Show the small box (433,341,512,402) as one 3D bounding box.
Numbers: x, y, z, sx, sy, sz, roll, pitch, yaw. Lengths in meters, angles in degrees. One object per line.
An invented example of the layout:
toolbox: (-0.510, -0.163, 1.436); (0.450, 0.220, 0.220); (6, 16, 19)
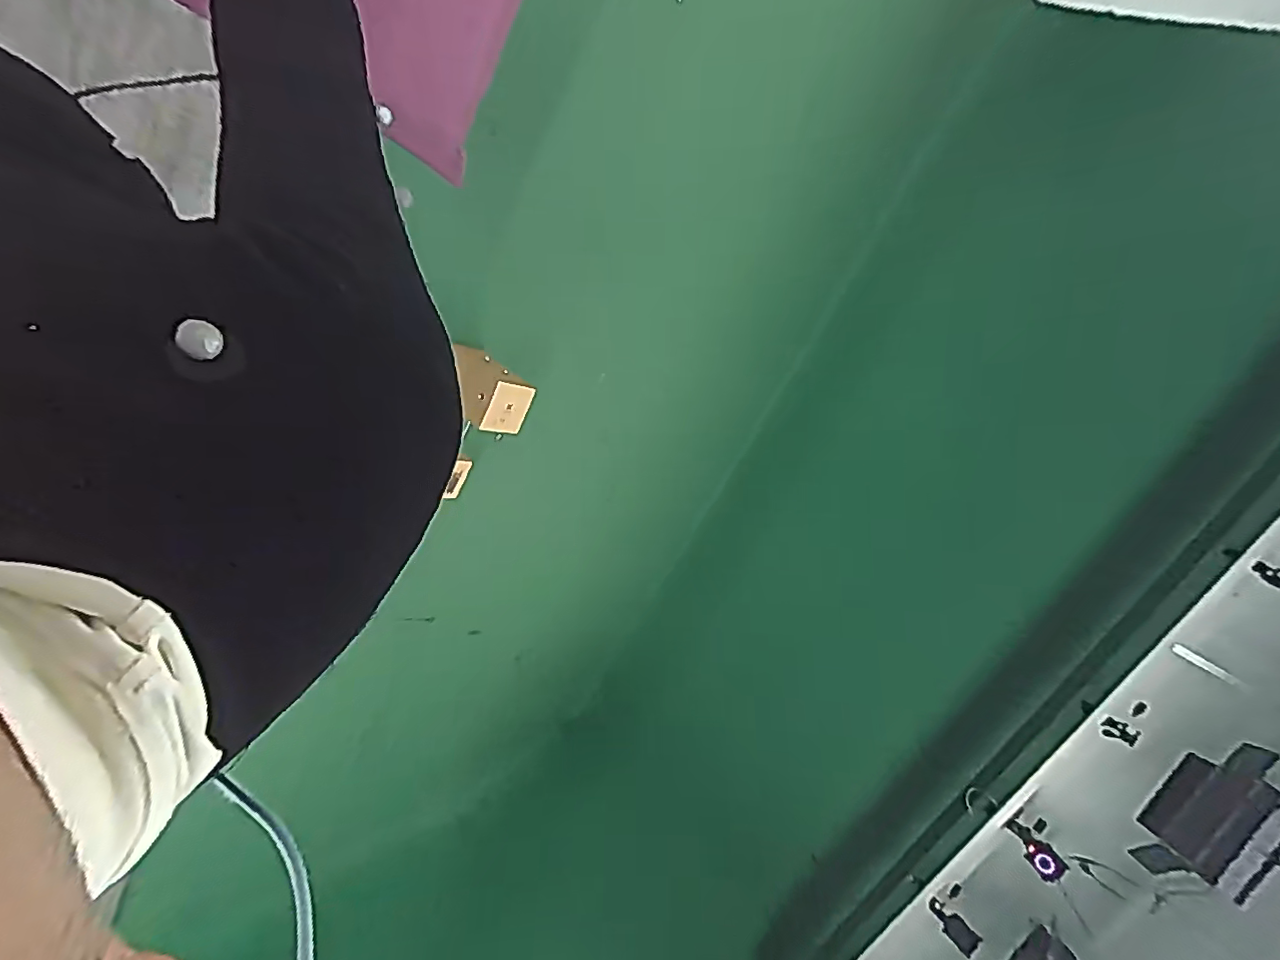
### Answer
small box: (-0.589, -0.369, 1.886); (0.179, 0.176, 0.168); (2, 121, -56)

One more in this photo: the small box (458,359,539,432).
small box: (-0.476, -0.283, 1.802); (0.168, 0.176, 0.179); (3, 120, -56)
